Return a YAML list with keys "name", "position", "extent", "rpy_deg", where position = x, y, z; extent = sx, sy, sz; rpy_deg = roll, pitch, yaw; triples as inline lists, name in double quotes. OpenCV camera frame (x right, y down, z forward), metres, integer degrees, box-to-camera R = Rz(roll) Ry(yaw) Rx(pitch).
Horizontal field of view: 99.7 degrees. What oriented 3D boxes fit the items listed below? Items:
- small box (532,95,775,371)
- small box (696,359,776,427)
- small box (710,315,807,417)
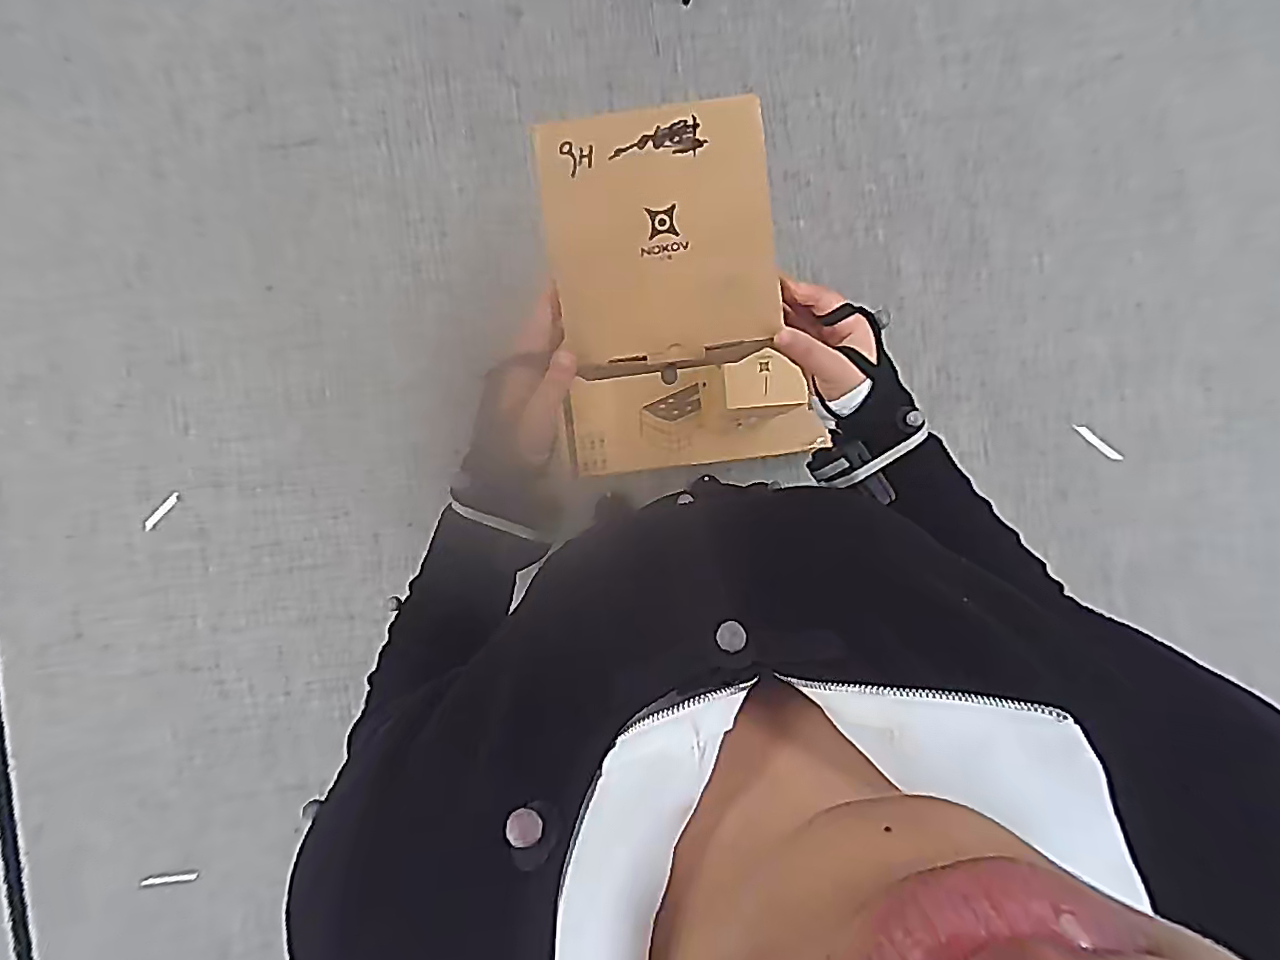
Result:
- name: "small box"
  position: [0.013, -0.193, 0.477]
  extent: [0.168, 0.176, 0.179]
  rpy_deg: [-8, 99, 1]
- name: "small box"
  position: [0.235, -0.233, 1.319]
  extent: [0.168, 0.176, 0.179]
  rpy_deg: [-8, 90, 0]
- name: "small box"
  position: [0.245, -0.237, 1.155]
  extent: [0.168, 0.176, 0.179]
  rpy_deg: [-4, 90, 0]
